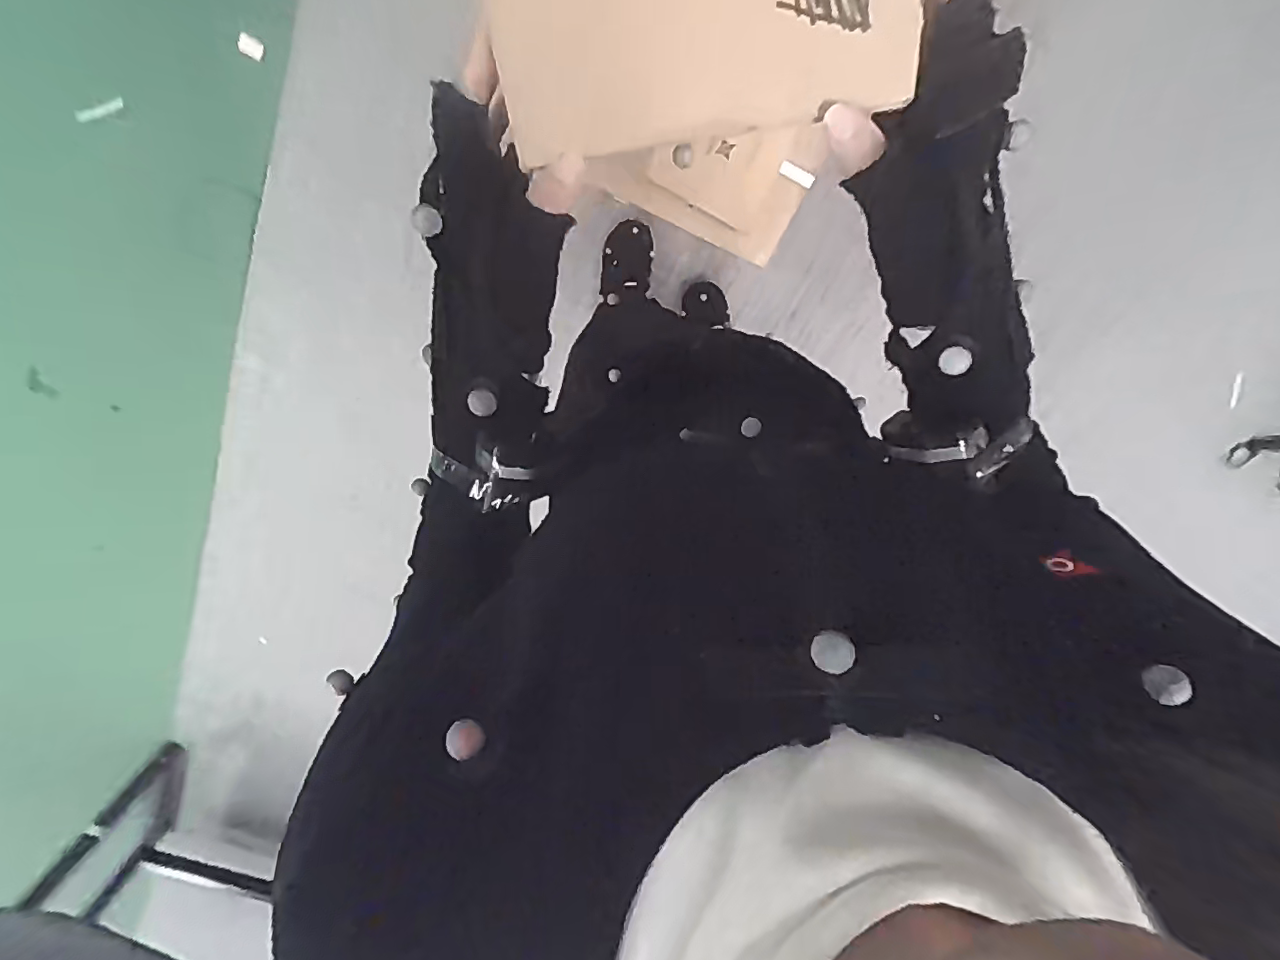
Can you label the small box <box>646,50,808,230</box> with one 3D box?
[{"bbox_3d":[0.122,-0.507,0.834,0.179,0.176,0.168,24,116,-10],"label":"small box"}]
